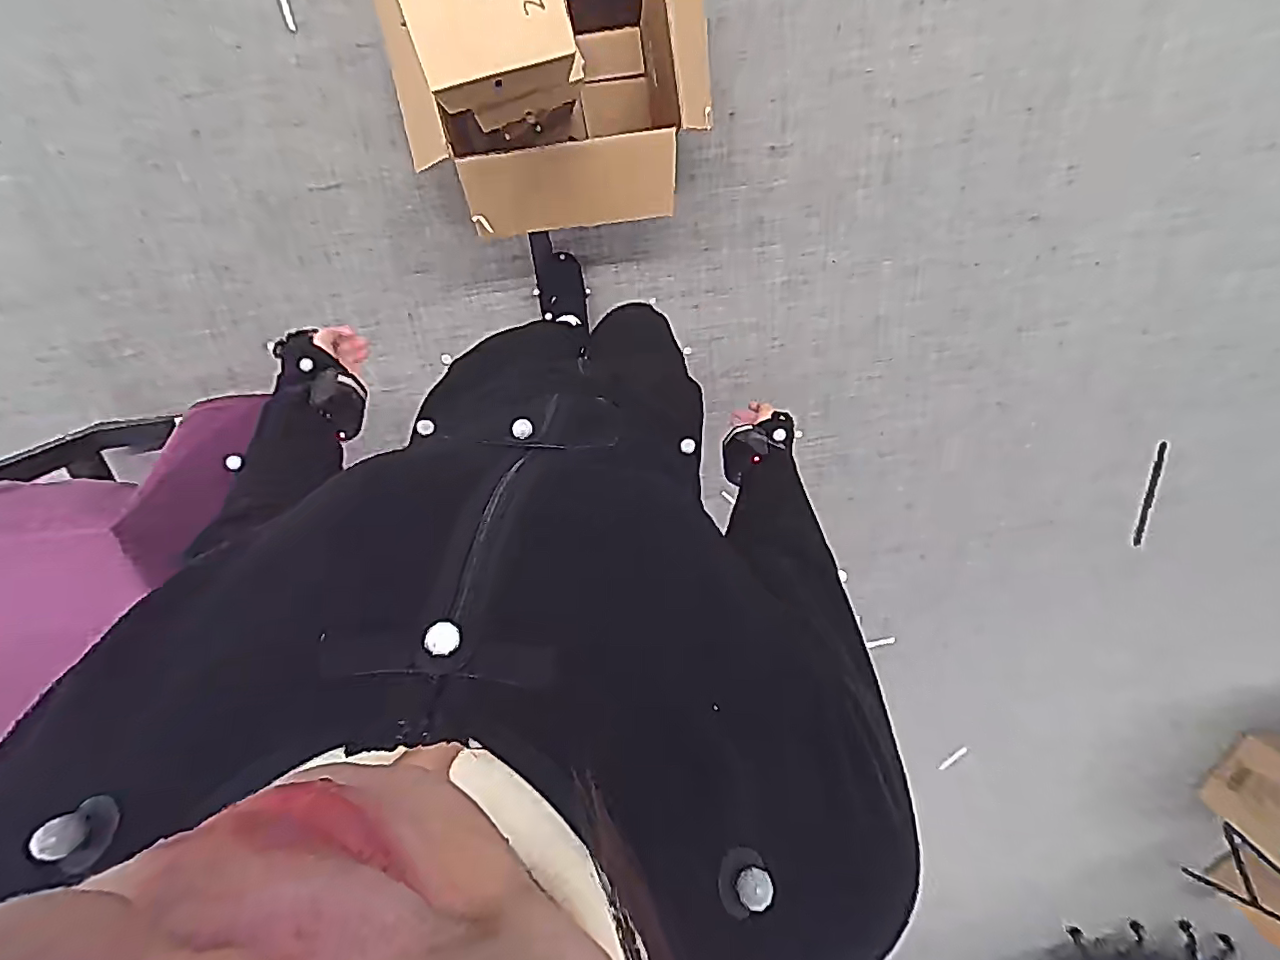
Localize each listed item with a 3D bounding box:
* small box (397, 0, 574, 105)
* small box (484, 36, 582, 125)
[{"bbox_3d":[-0.186,-0.567,0.639,0.179,0.176,0.168,-17,119,-3],"label":"small box"},{"bbox_3d":[-0.216,-0.739,0.920,0.179,0.176,0.168,-29,118,4],"label":"small box"}]
